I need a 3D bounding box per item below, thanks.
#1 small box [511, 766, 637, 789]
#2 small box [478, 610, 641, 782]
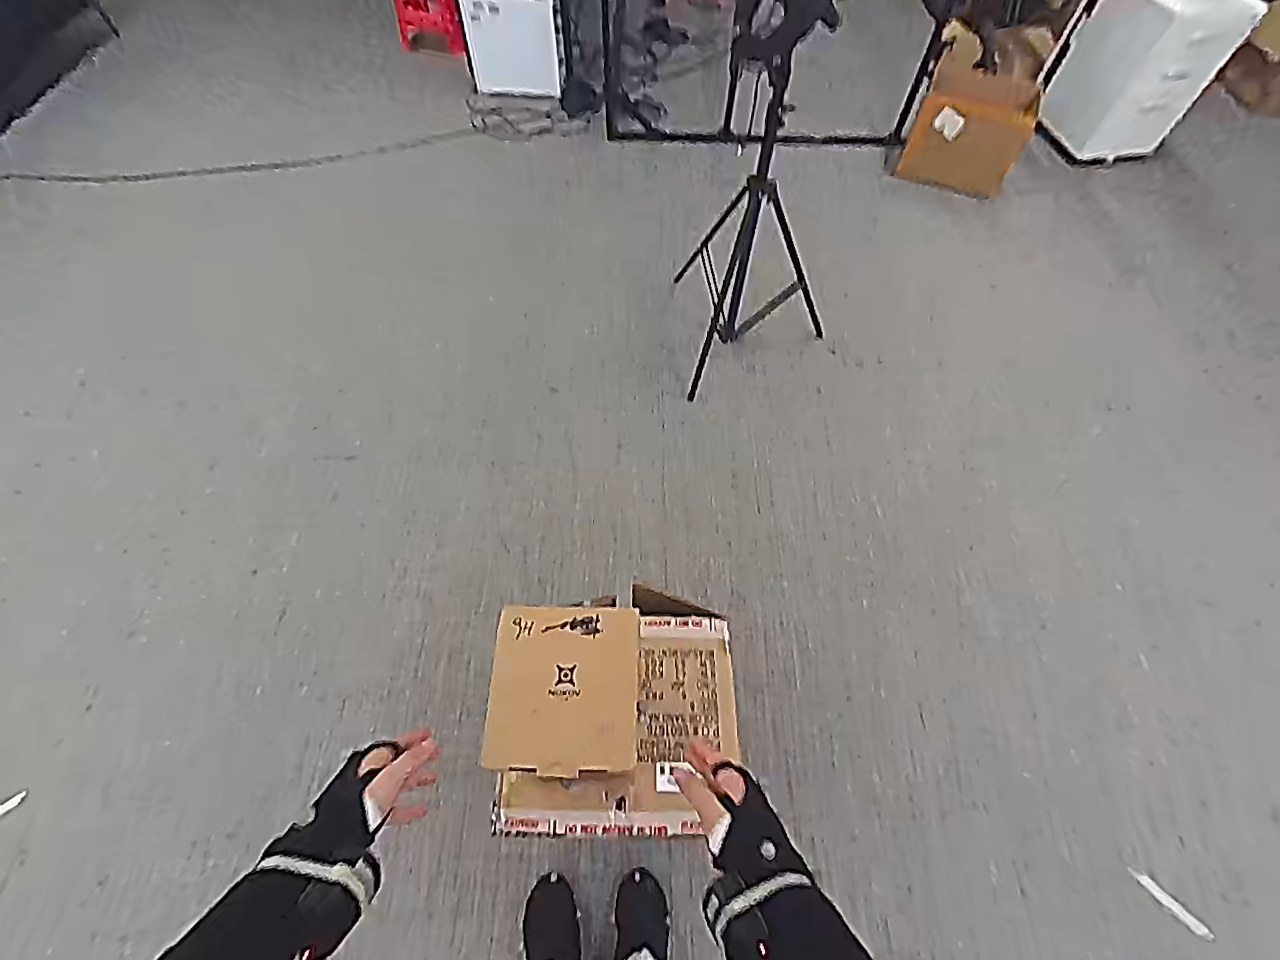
[{"bbox_3d":[-0.087,0.359,0.807,0.168,0.176,0.179,-1,62,0],"label":"small box"},{"bbox_3d":[-0.084,0.269,0.669,0.168,0.176,0.179,1,62,1],"label":"small box"}]
